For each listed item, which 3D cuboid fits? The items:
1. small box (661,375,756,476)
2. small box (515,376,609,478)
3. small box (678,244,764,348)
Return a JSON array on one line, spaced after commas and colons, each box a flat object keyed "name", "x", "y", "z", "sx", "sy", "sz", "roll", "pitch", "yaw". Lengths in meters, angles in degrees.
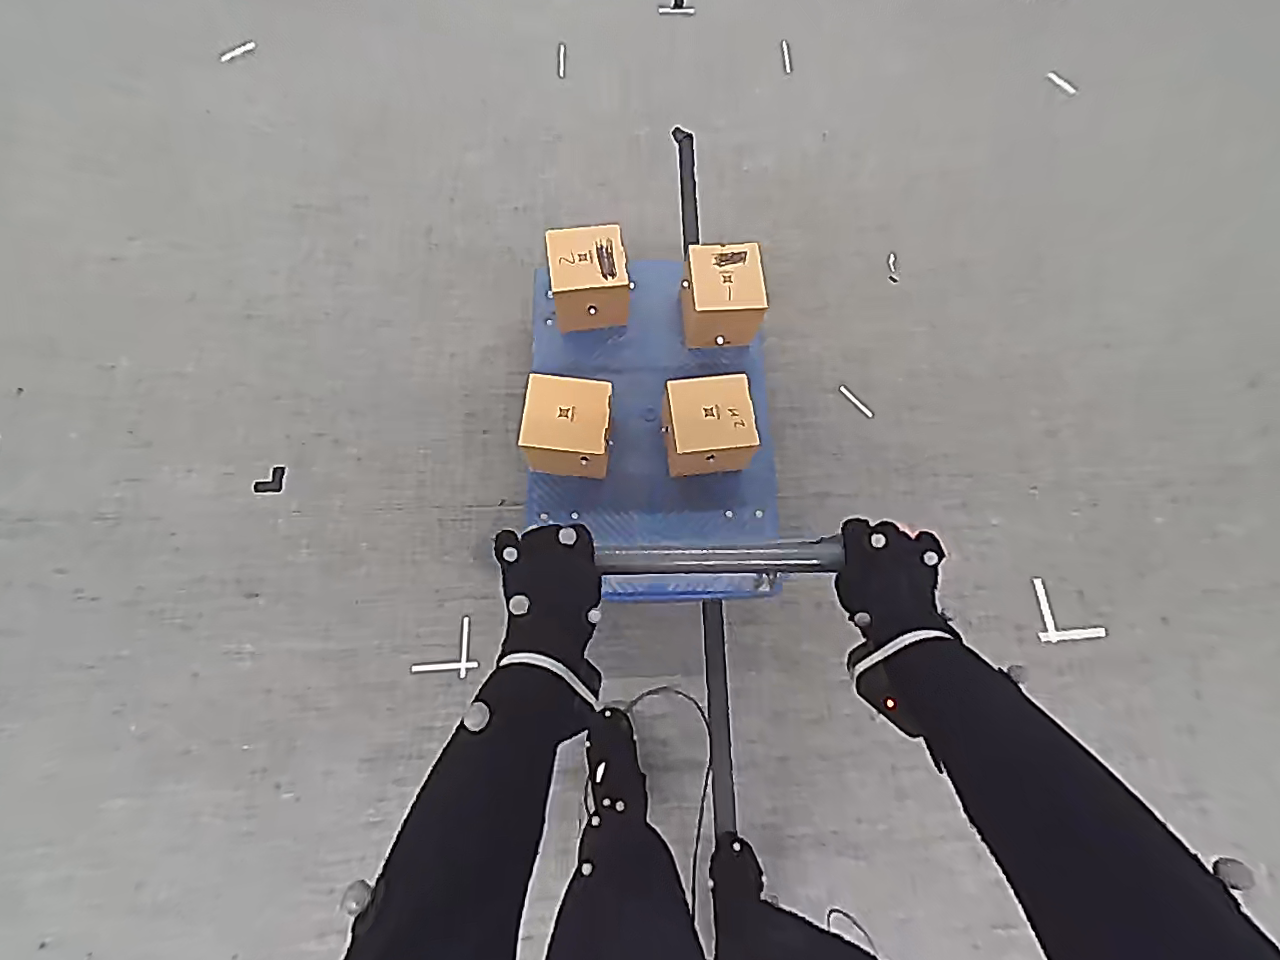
[{"name": "small box", "x": 0.142, "y": -0.114, "z": 1.196, "sx": 0.179, "sy": 0.176, "sz": 0.168, "roll": -6, "pitch": 74, "yaw": -4}, {"name": "small box", "x": -0.162, "y": -0.109, "z": 1.180, "sx": 0.179, "sy": 0.176, "sz": 0.168, "roll": 5, "pitch": 73, "yaw": -2}, {"name": "small box", "x": 0.186, "y": -0.436, "z": 1.294, "sx": 0.168, "sy": 0.176, "sz": 0.179, "roll": -4, "pitch": 75, "yaw": -3}]
